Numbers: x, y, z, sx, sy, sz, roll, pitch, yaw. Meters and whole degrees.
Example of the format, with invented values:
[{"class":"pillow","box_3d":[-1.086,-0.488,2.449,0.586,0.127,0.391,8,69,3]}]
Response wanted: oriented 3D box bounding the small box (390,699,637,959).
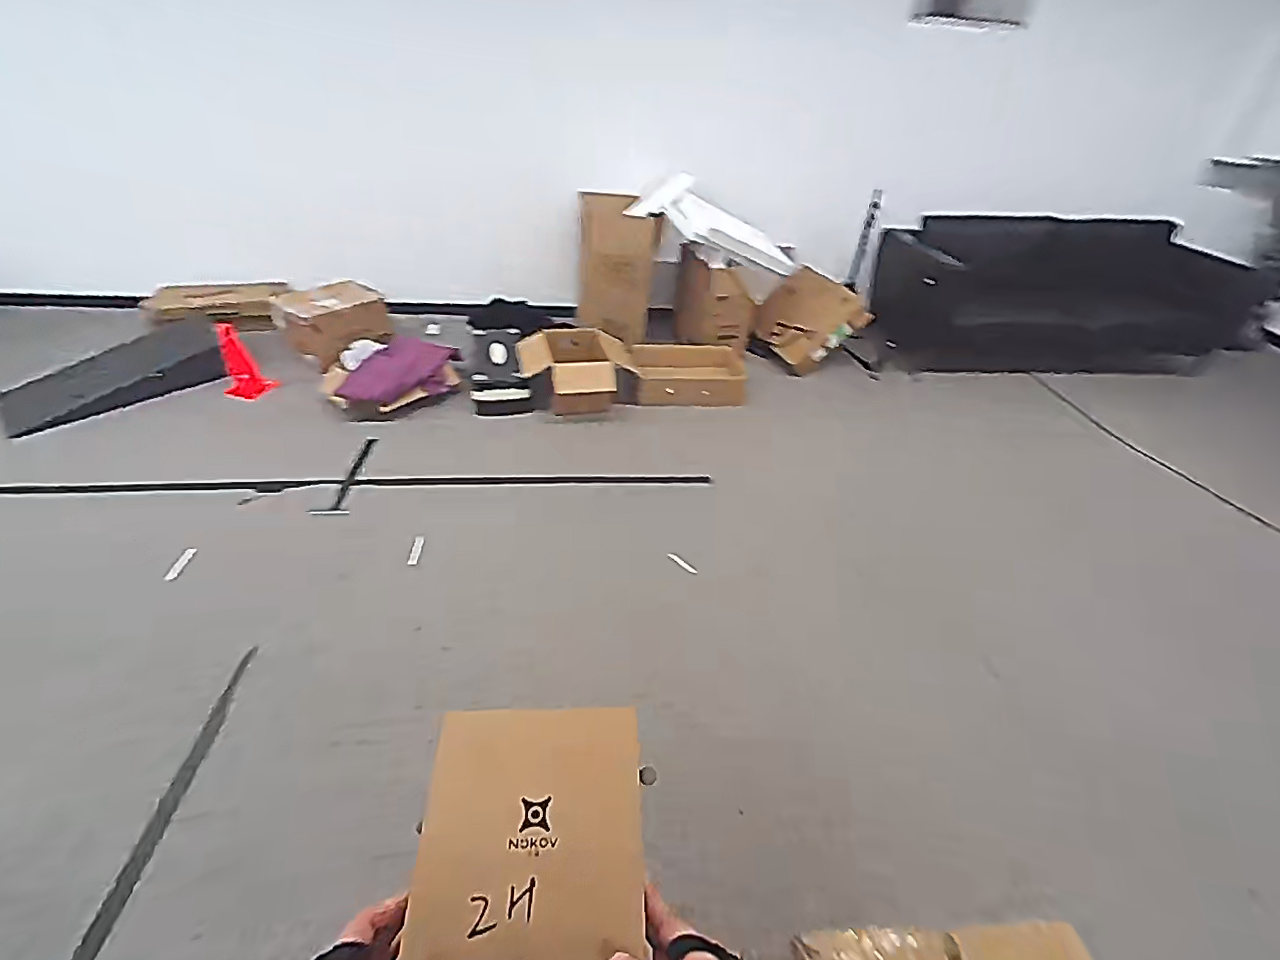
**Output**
[{"class":"small box","box_3d":[-0.093,0.312,0.472,0.168,0.176,0.179,0,48,-5]}]
